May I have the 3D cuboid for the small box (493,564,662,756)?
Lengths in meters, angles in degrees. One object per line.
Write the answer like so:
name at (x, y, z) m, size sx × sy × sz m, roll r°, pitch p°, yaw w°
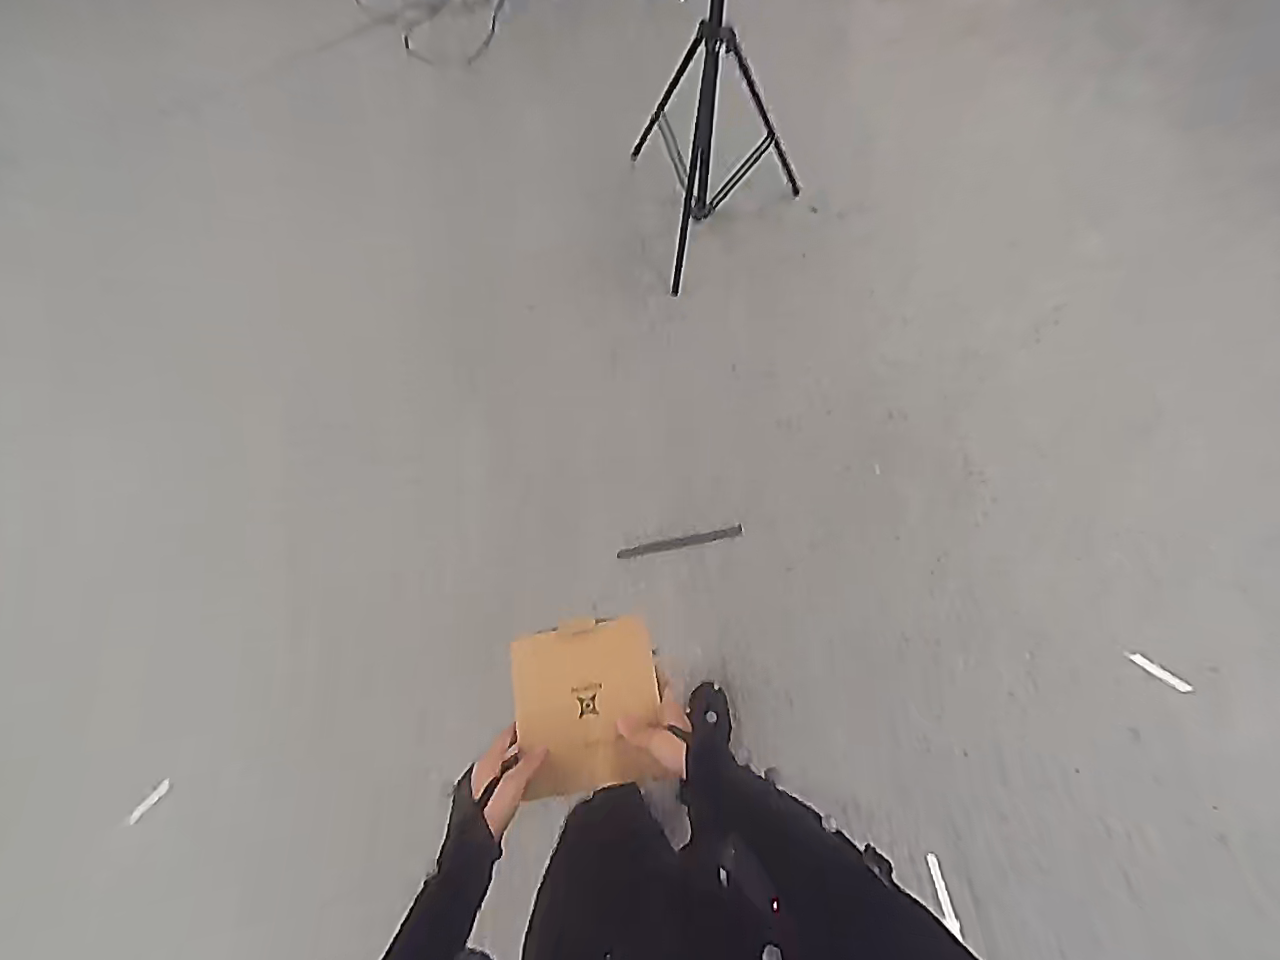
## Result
small box at (-0.070, 0.215, 0.649) m, size 0.168 × 0.176 × 0.179 m, roll -10°, pitch 69°, yaw -2°
